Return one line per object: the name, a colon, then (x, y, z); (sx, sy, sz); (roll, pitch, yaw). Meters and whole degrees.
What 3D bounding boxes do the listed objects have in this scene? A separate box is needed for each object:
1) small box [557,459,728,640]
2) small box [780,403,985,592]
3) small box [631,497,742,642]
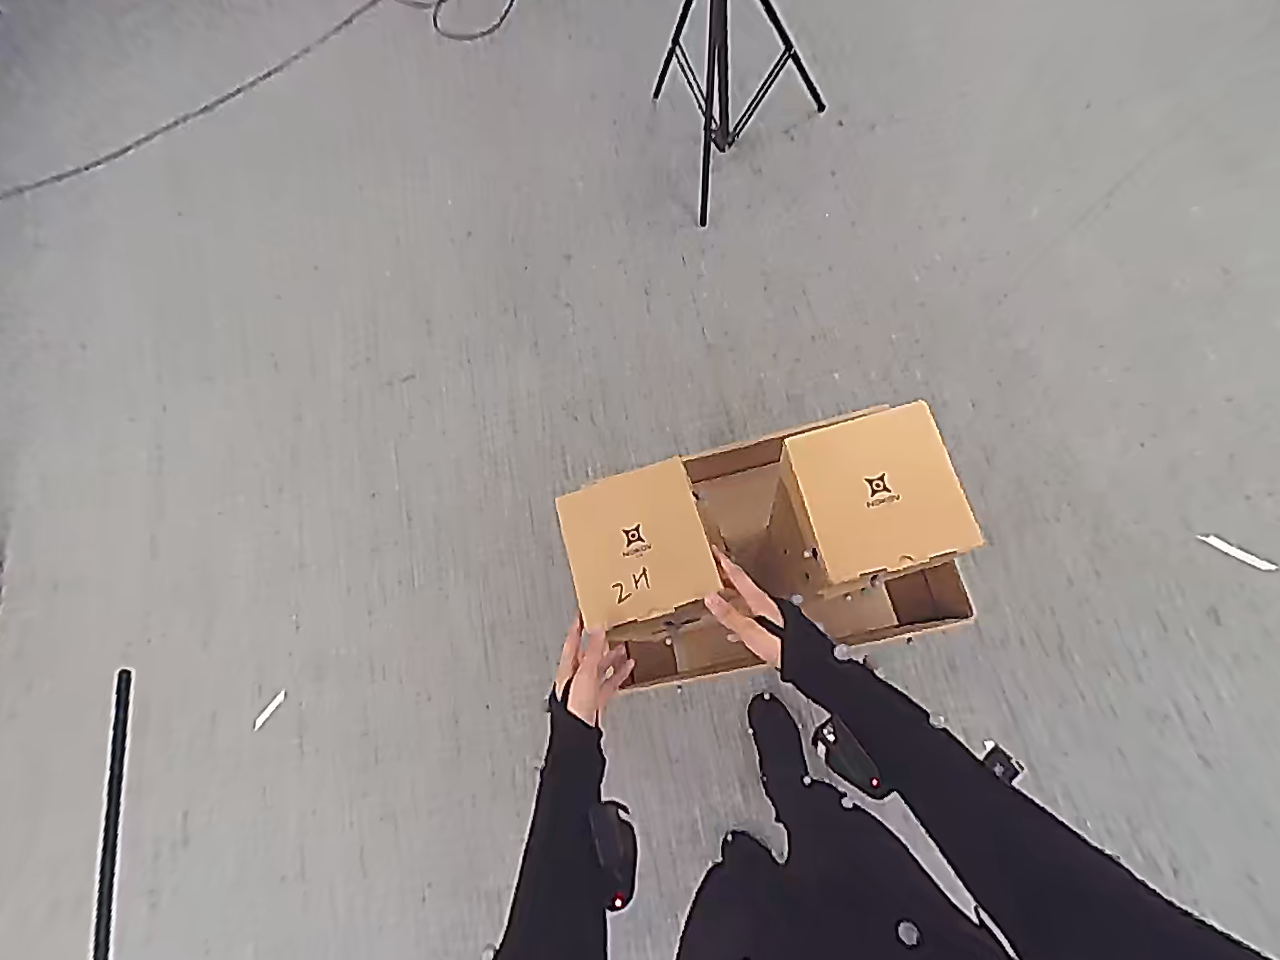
small box: (0.010, 0.100, 0.705); (0.168, 0.176, 0.179); (-19, 69, 6)
small box: (0.279, 0.033, 0.673); (0.168, 0.176, 0.179); (-16, 73, 7)
small box: (0.059, 0.149, 0.858); (0.168, 0.176, 0.179); (-18, 70, 6)
